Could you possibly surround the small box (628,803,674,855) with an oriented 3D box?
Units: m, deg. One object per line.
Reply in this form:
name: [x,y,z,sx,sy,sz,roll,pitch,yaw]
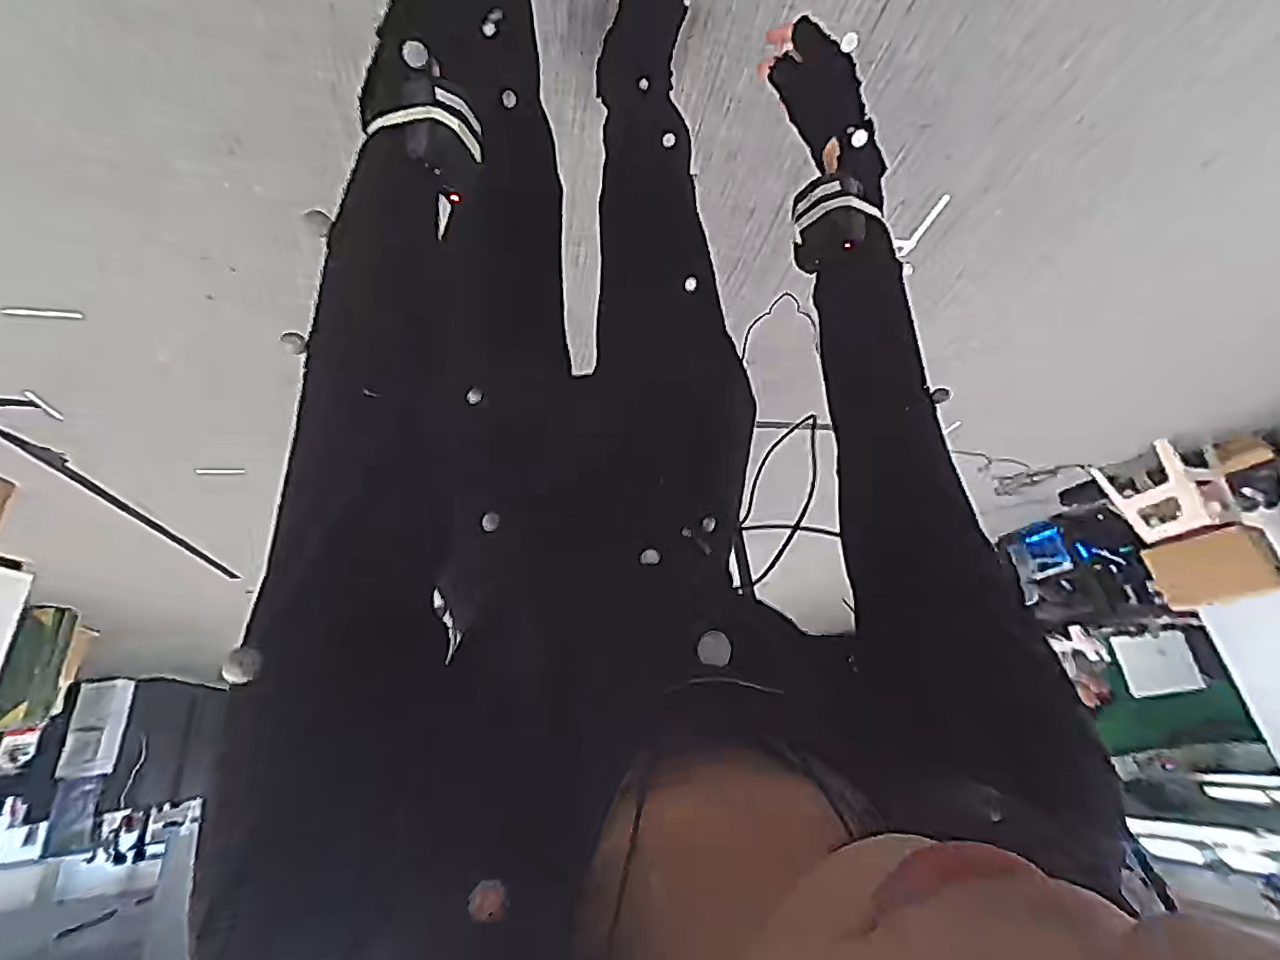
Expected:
small box: [0.043,1.565,2.432,0.168,0.176,0.179,-2,153,-13]
